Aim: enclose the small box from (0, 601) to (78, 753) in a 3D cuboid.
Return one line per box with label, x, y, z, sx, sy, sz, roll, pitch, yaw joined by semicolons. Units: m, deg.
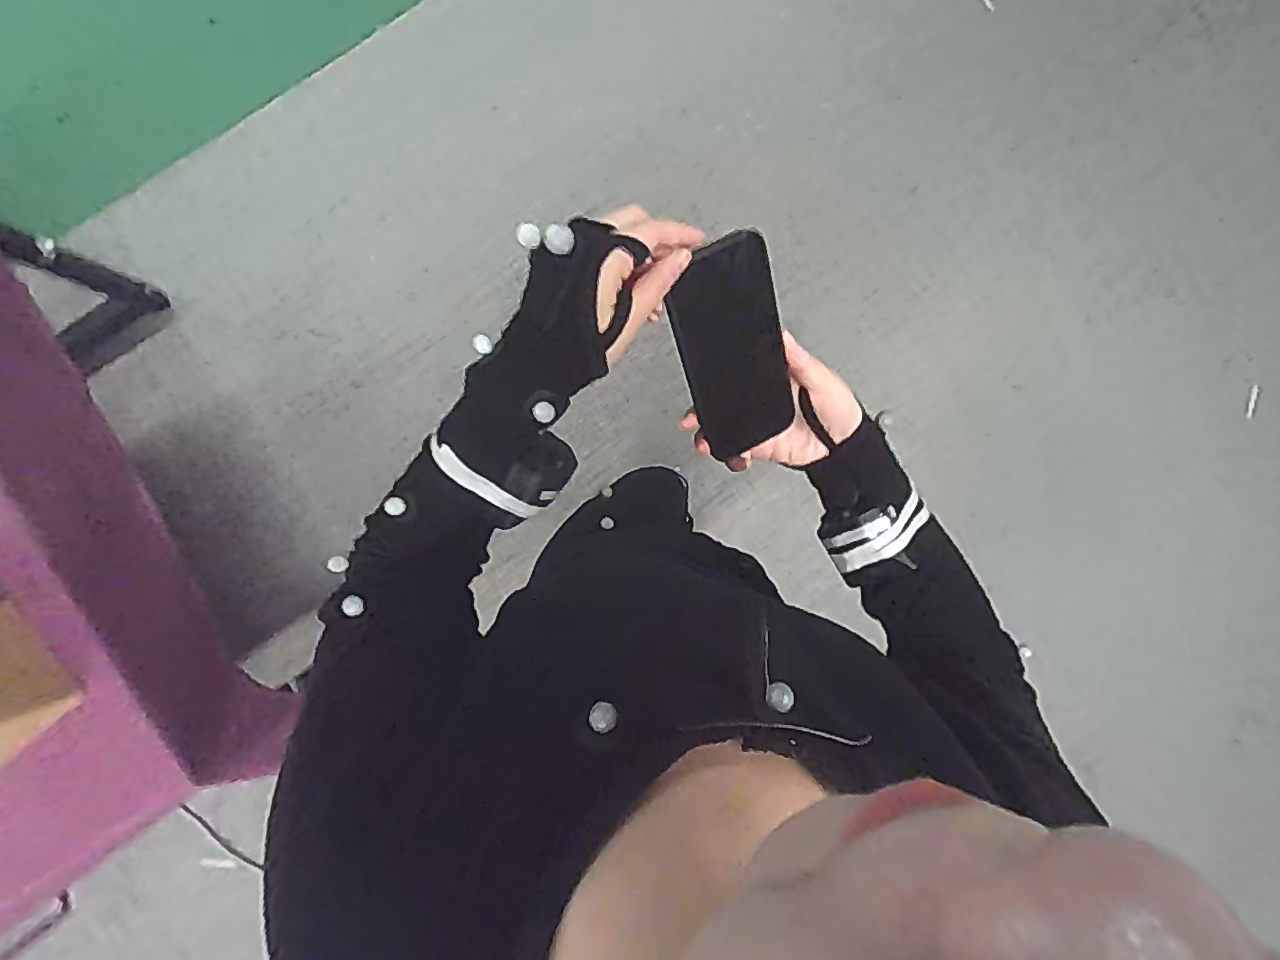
small box;-0.887;0.274;0.674;0.168;0.176;0.179;-40;89;-1
